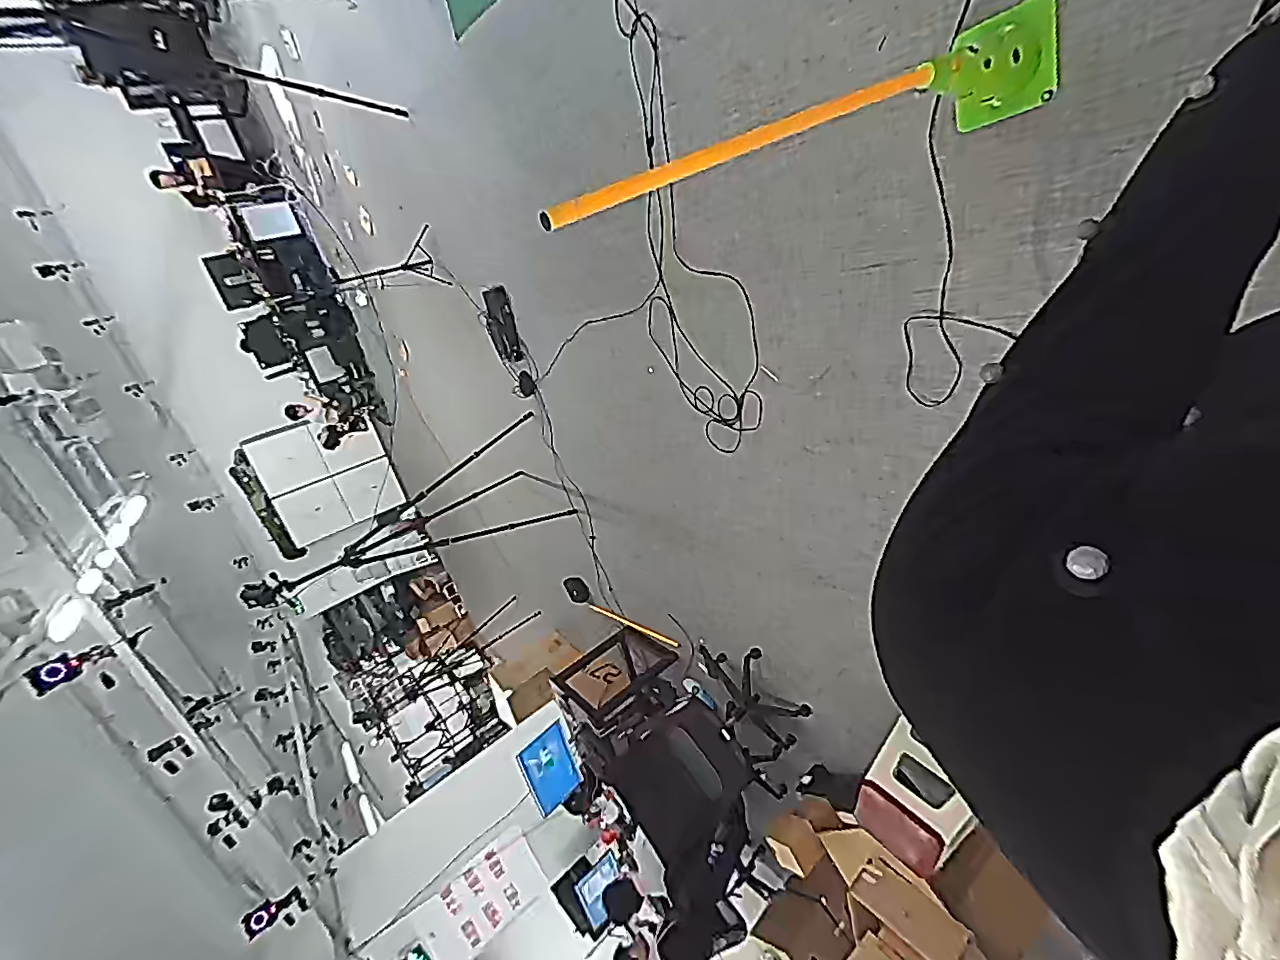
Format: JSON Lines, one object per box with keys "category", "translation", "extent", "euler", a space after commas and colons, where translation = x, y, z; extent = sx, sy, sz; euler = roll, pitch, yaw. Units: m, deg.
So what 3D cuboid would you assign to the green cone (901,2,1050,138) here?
{"category": "green cone", "translation": [0.661, -0.831, 1.119], "extent": [0.202, 0.368, 0.200], "euler": [13, 124, 54]}
